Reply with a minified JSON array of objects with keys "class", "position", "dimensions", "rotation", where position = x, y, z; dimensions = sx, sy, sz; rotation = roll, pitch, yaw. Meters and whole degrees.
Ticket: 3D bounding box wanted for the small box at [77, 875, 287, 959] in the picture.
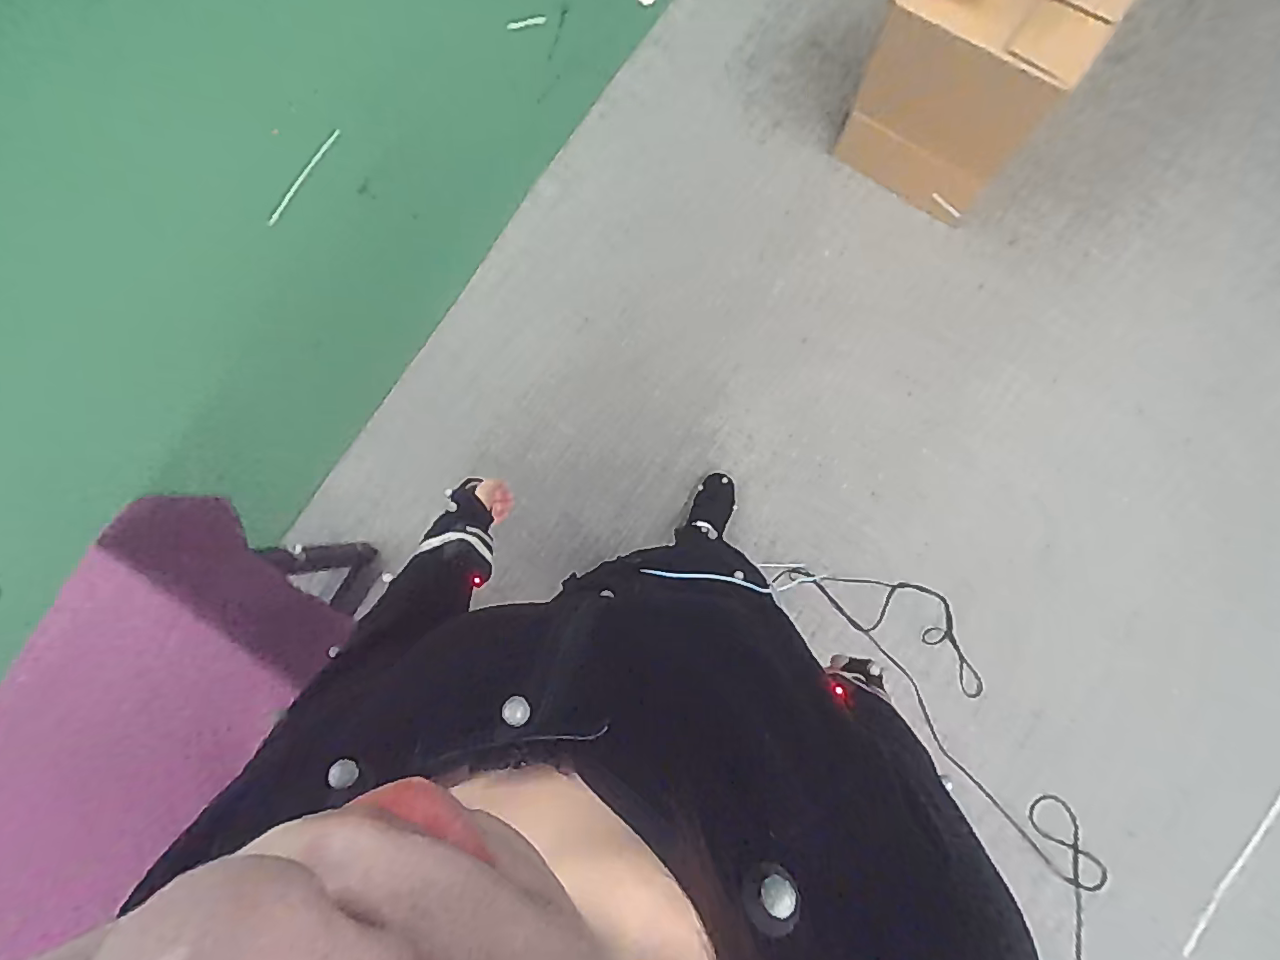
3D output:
[{"class":"small box","position":[-0.495,0.554,0.535],"dimensions":[0.168,0.176,0.179],"rotation":[31,90,7]}]
